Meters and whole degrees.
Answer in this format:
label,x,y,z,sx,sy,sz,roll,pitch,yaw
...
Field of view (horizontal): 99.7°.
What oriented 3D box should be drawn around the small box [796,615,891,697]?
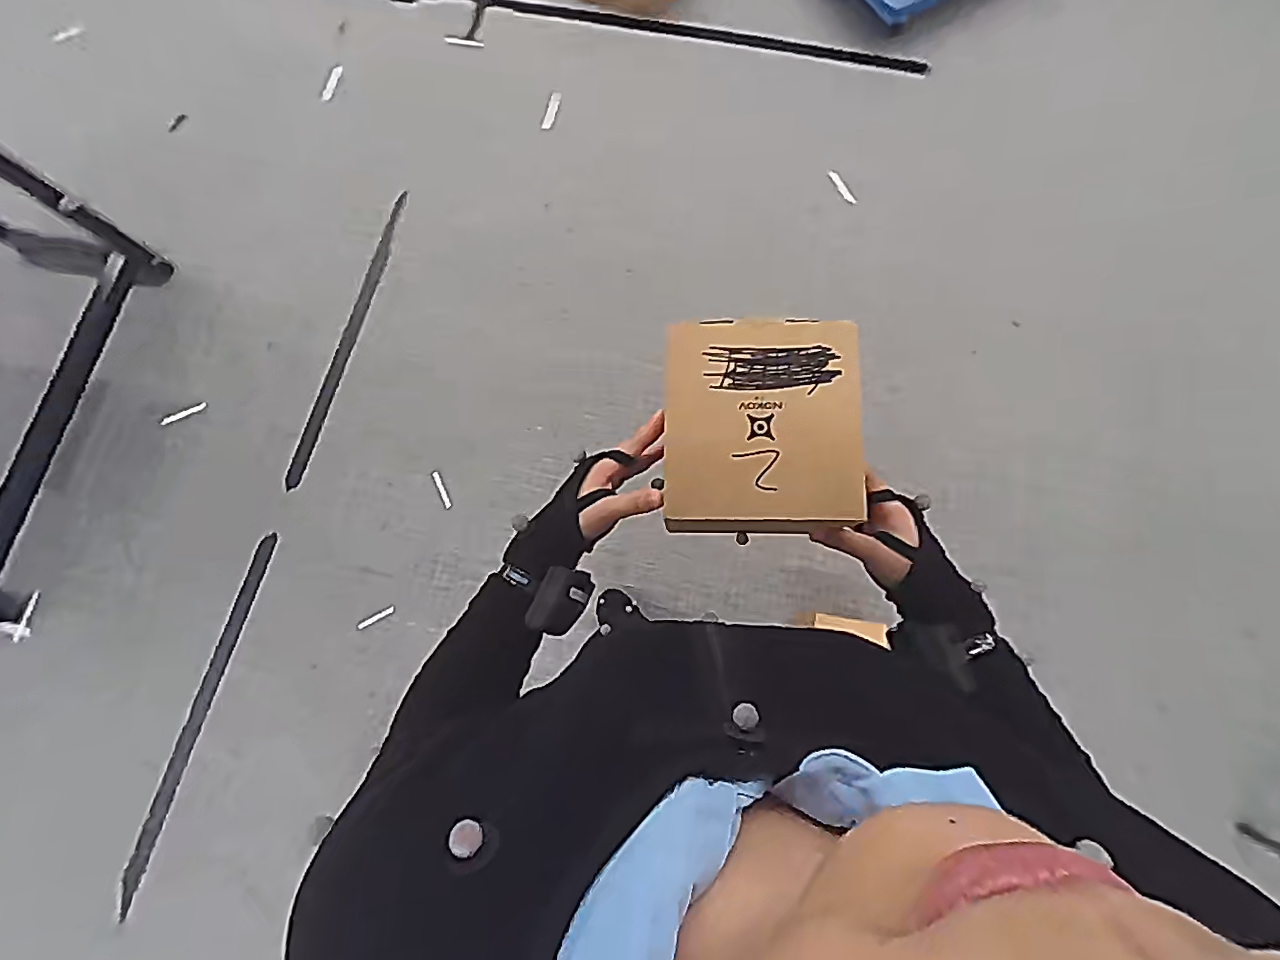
label,x,y,z,sx,sy,sz,roll,pitch,yaw
small box,0.509,0.436,1.368,0.179,0.176,0.168,8,78,4
